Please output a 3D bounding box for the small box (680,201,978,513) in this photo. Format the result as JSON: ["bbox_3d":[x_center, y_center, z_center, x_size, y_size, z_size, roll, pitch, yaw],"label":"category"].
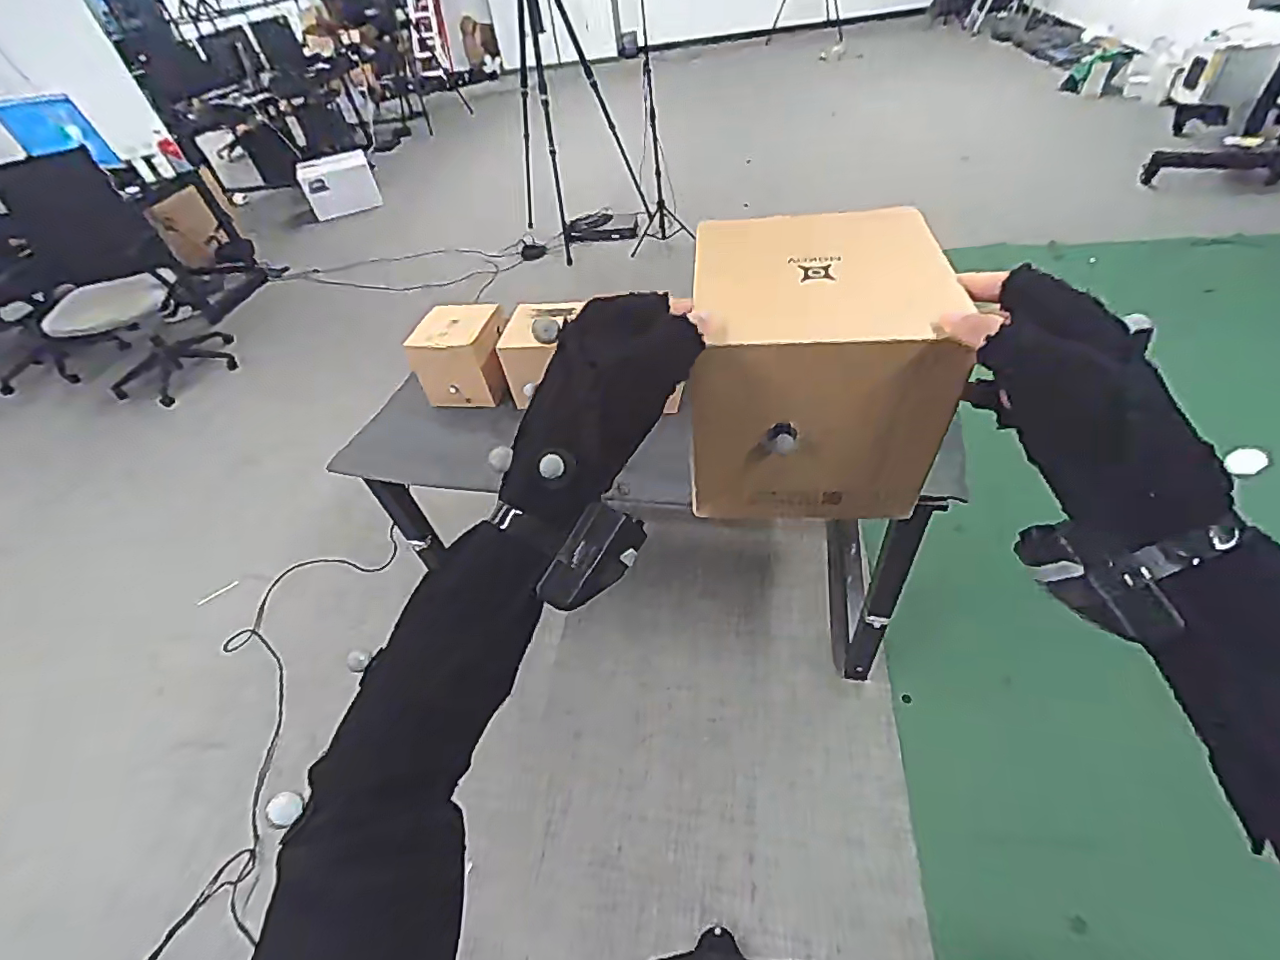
[{"bbox_3d":[0.123,-0.088,0.418,0.168,0.176,0.179,0,48,8],"label":"small box"}]

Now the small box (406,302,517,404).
[{"bbox_3d":[-0.403,-0.297,1.261,0.168,0.176,0.179,2,47,12],"label":"small box"}]
